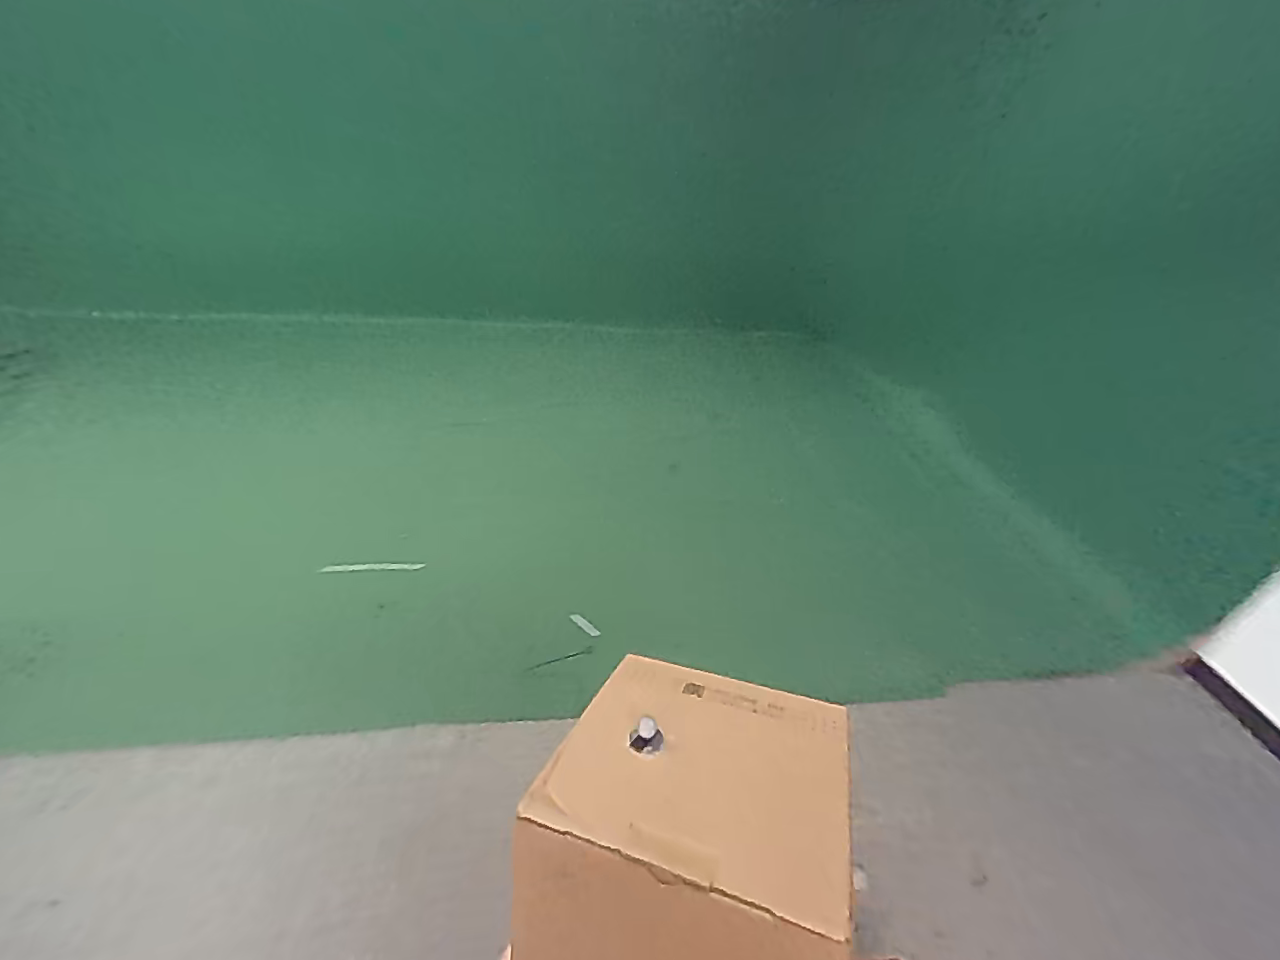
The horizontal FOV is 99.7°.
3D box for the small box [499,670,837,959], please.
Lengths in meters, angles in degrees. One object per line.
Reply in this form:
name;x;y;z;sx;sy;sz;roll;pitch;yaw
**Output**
small box;0.027;0.251;0.347;0.168;0.179;0.176;8;14;18
